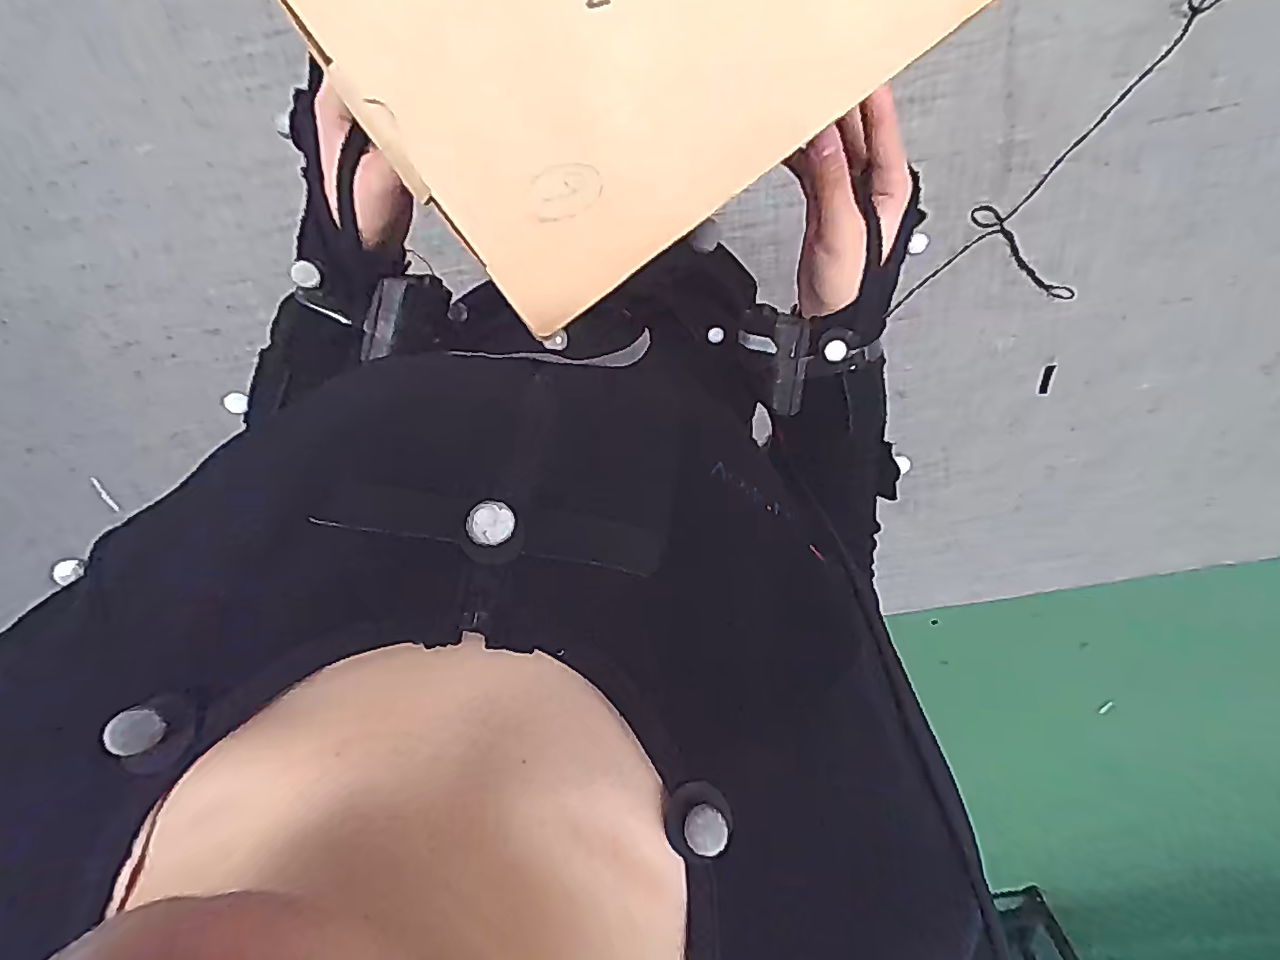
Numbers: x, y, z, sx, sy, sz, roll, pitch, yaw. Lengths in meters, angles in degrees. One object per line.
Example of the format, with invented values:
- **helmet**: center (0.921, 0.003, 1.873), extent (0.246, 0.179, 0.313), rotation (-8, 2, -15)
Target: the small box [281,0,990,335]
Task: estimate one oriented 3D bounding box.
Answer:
- **small box**: center (-0.007, -0.189, 0.224), extent (0.179, 0.176, 0.168), rotation (-31, 110, 17)
